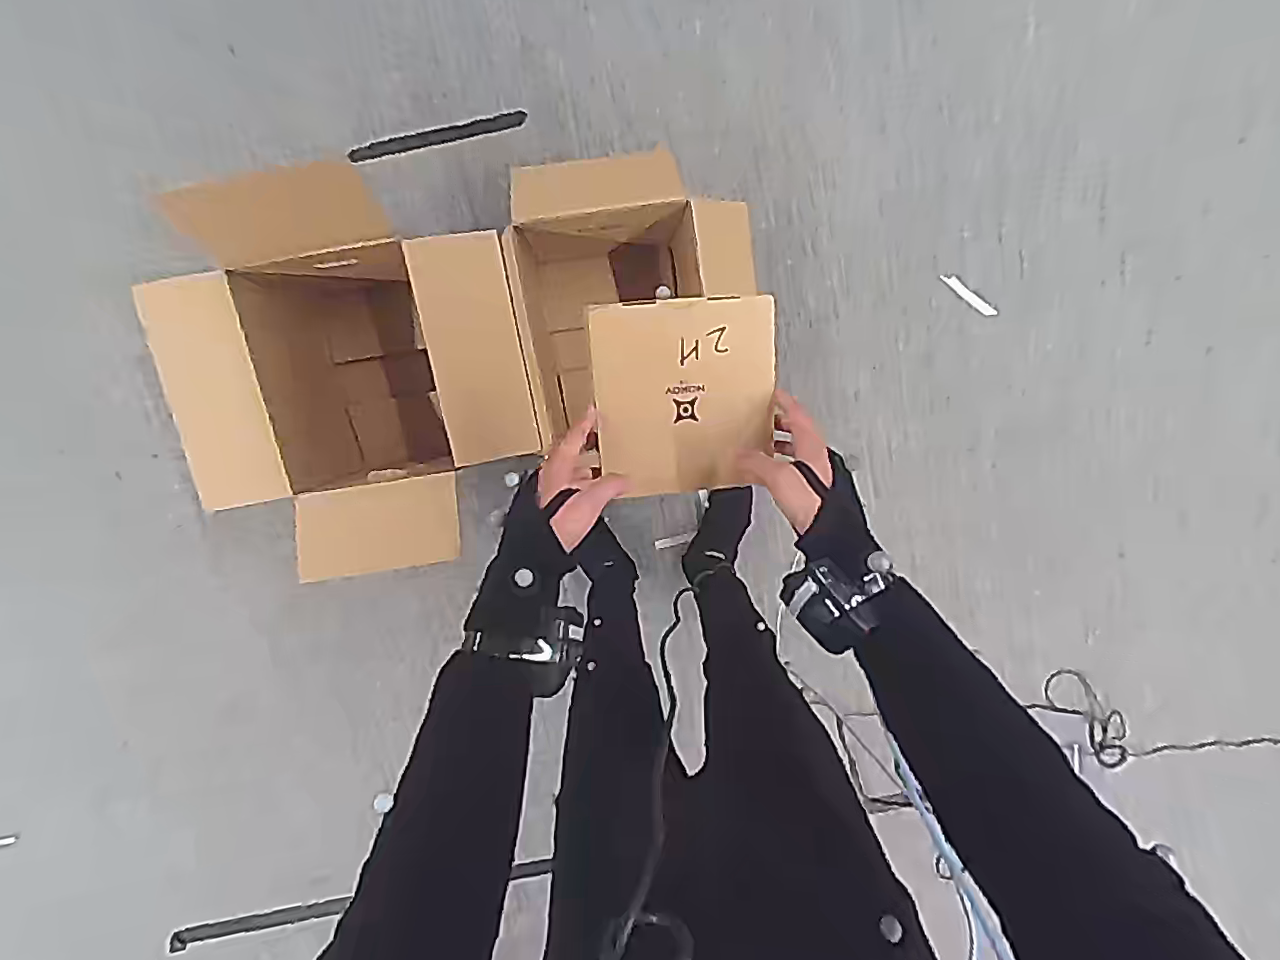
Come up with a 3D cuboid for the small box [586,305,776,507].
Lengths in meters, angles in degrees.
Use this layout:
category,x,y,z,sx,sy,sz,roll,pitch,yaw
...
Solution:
category,x,y,z,sx,sy,sz,roll,pitch,yaw
small box,0.032,-0.085,0.560,0.168,0.176,0.179,-5,106,-5
